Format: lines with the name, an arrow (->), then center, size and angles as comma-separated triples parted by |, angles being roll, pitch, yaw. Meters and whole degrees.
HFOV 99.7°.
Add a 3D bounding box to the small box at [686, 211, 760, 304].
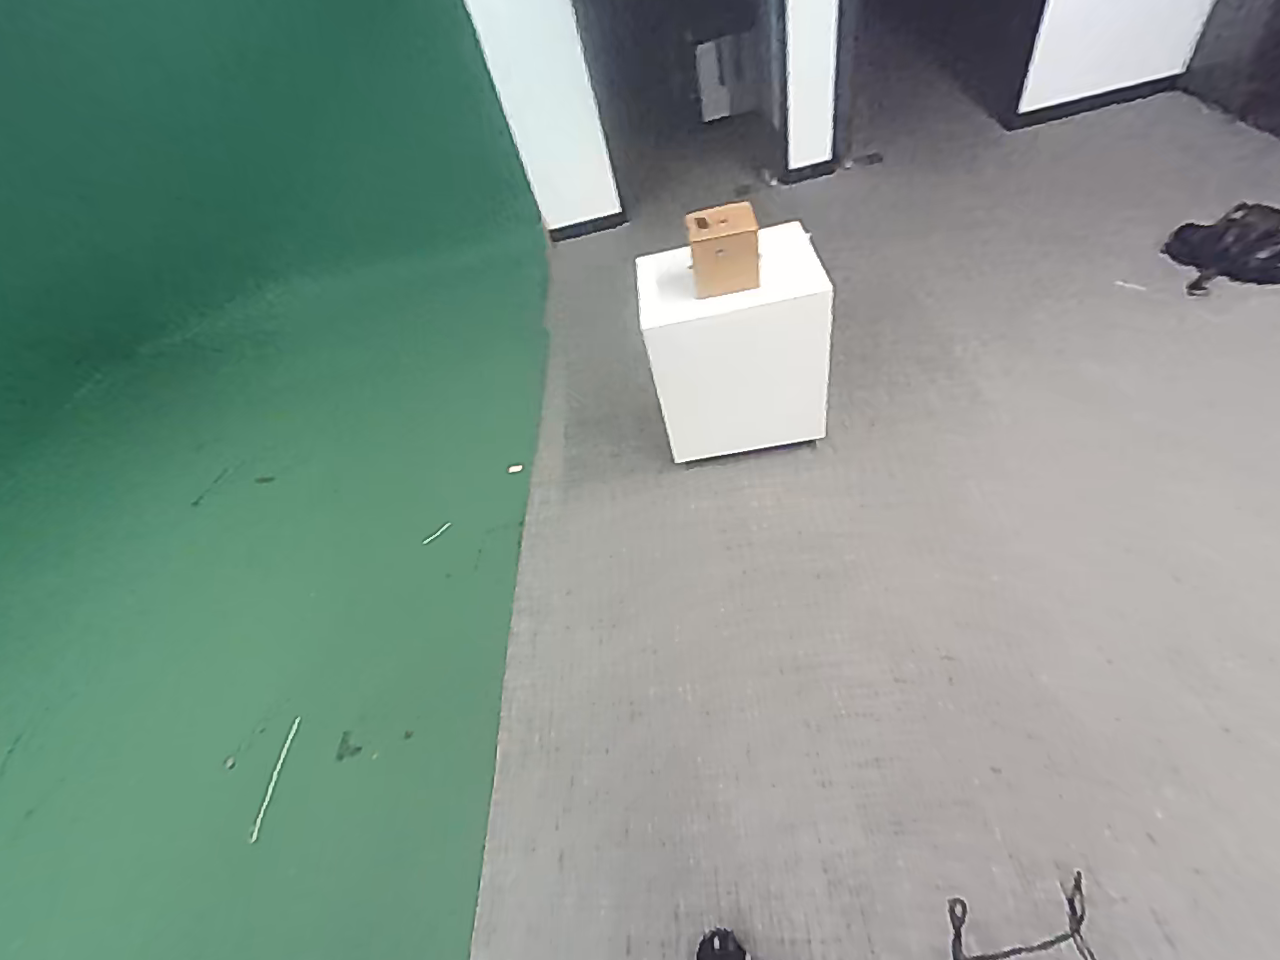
small box -> 0.229, -0.605, 1.488 | 0.179, 0.176, 0.168 | -8, 48, 9
